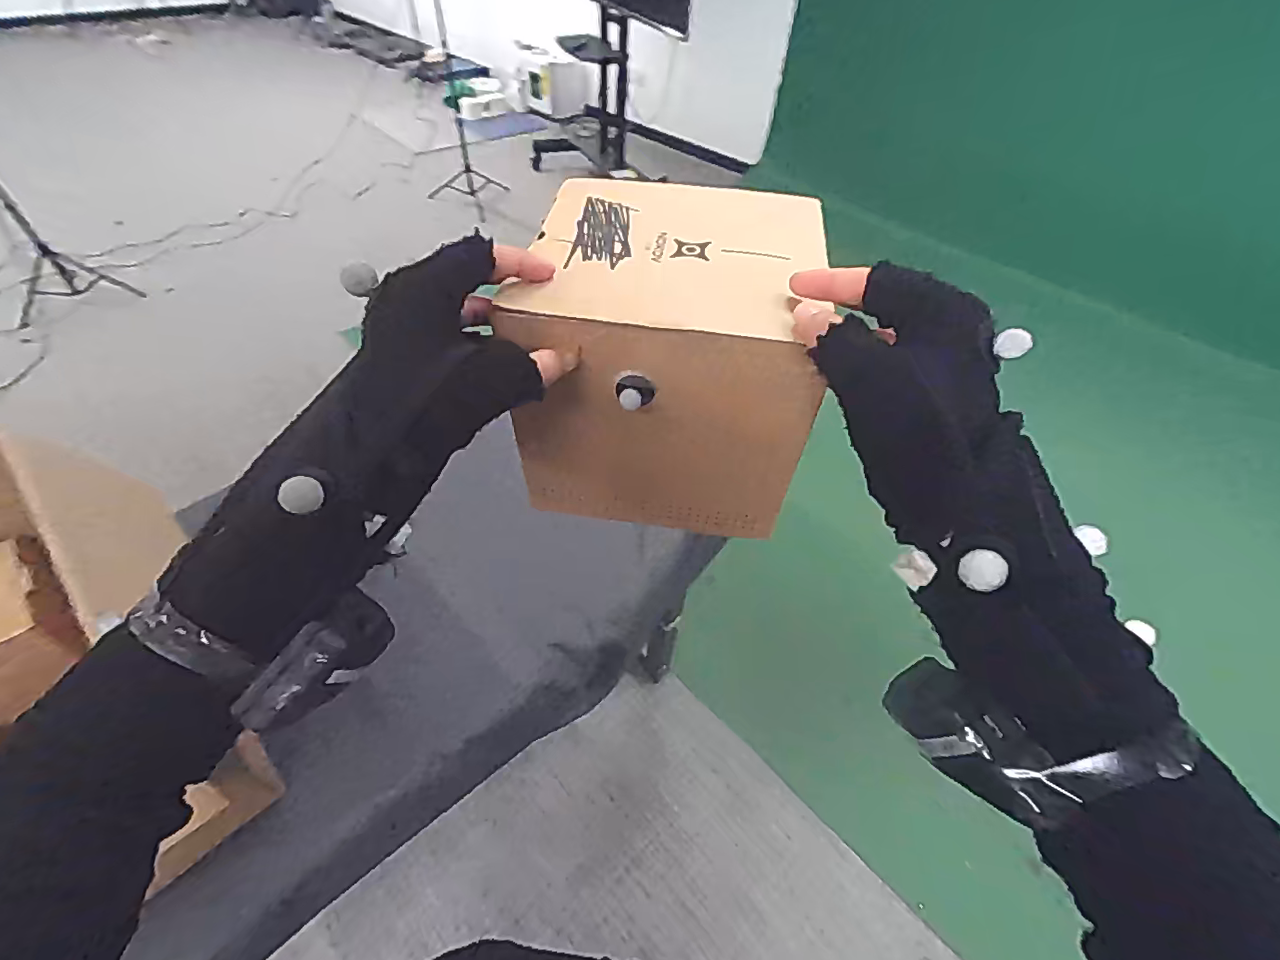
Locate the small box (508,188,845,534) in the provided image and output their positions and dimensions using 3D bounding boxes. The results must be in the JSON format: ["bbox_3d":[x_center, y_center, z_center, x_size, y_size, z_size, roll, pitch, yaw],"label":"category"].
[{"bbox_3d":[0.027,-0.080,0.382,0.179,0.176,0.168,9,51,5],"label":"small box"}]
